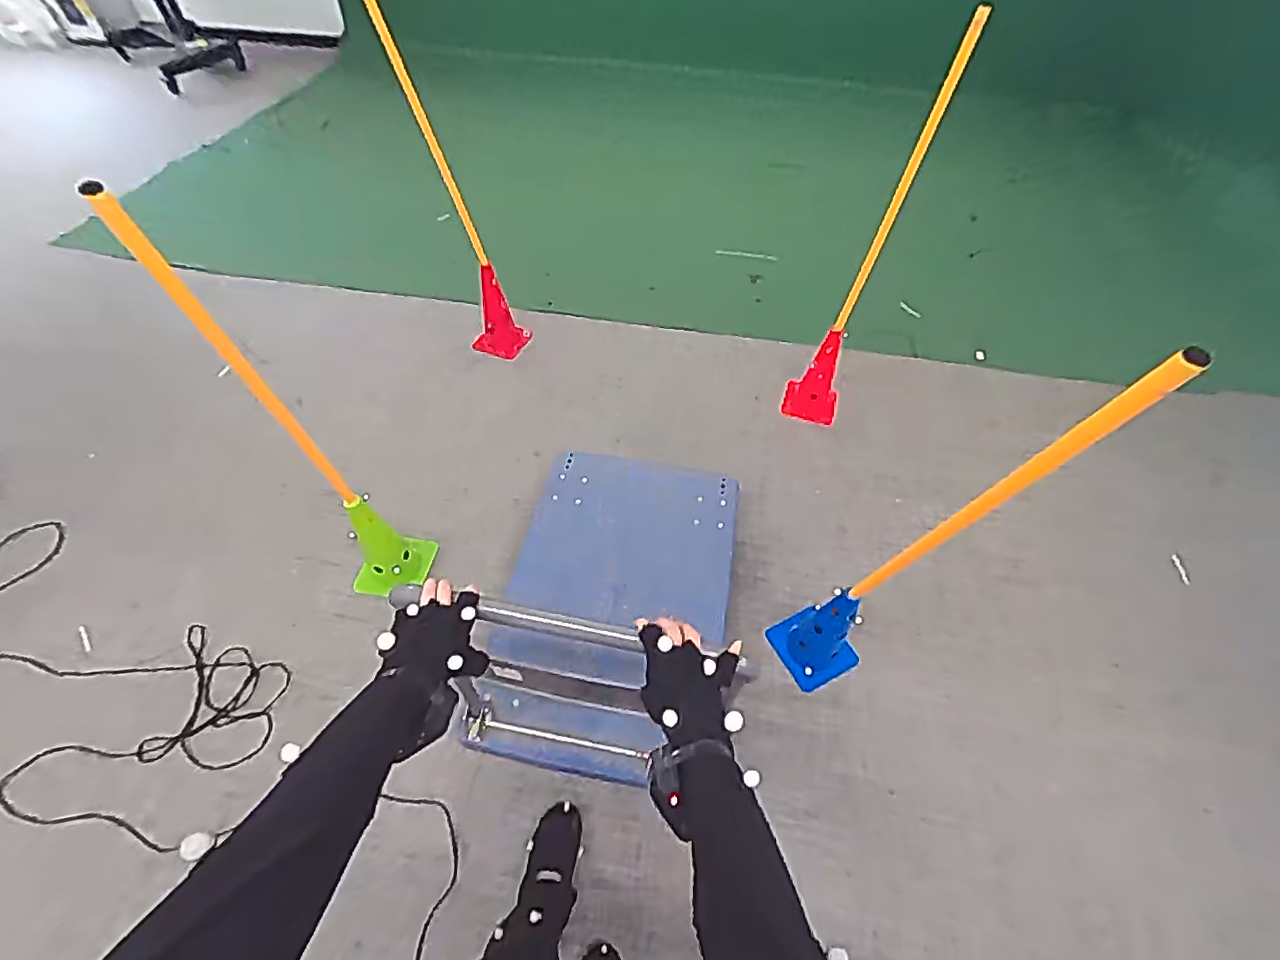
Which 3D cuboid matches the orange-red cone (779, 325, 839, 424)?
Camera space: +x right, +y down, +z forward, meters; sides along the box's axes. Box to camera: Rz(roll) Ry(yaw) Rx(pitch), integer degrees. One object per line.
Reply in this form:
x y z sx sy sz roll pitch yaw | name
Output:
0.657 -0.406 1.970 0.198 0.360 0.199 17 55 12 | orange-red cone
